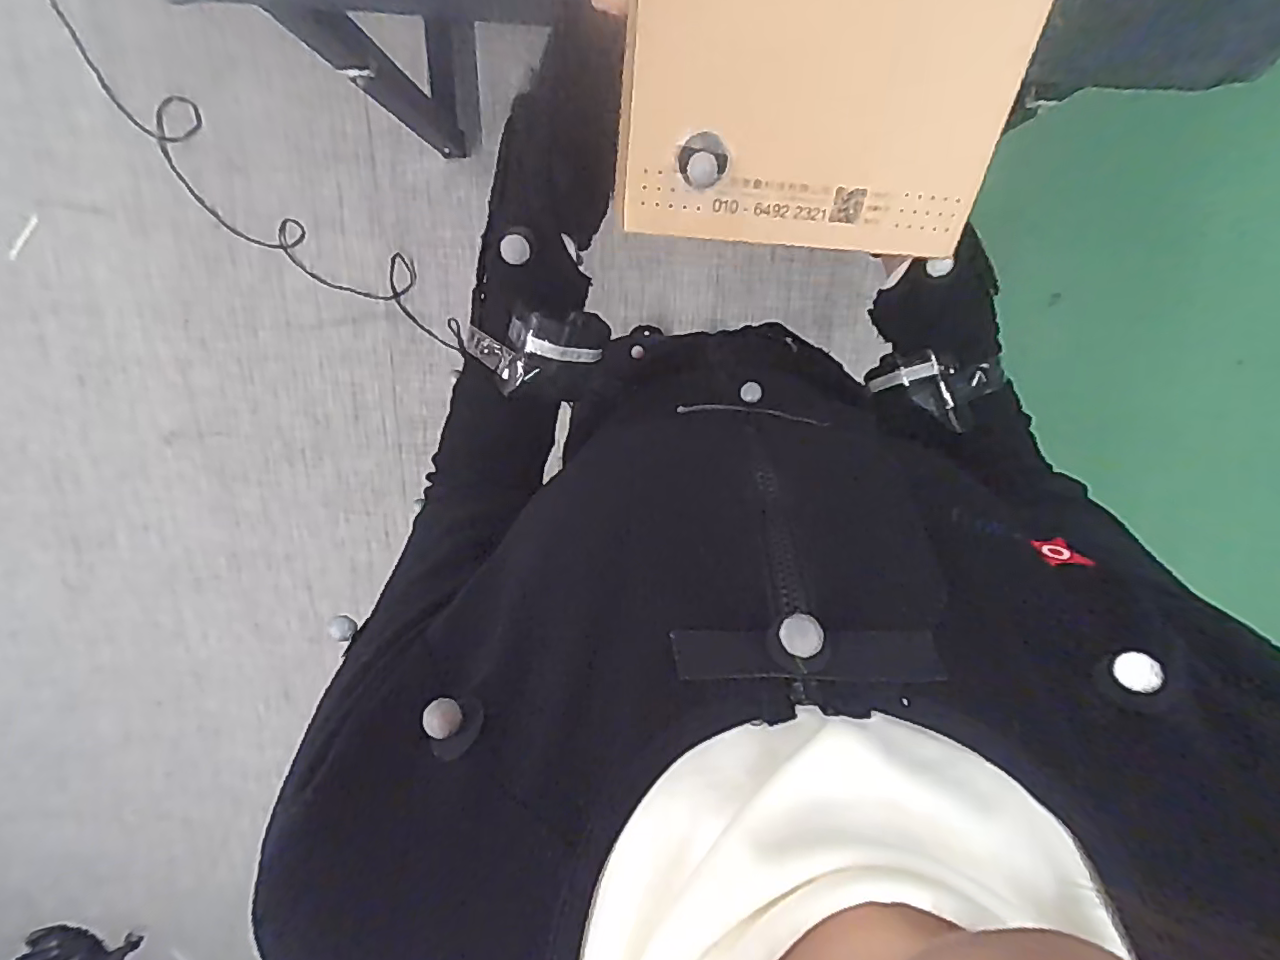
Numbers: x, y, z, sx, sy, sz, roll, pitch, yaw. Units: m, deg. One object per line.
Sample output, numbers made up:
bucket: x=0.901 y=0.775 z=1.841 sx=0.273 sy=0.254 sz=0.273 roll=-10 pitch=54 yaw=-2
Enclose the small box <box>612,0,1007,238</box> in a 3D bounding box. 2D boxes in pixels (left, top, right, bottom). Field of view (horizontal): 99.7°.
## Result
small box: x=0.073 y=-0.239 z=0.293 sx=0.168 sy=0.179 sz=0.176 roll=2 pitch=124 yaw=-7
